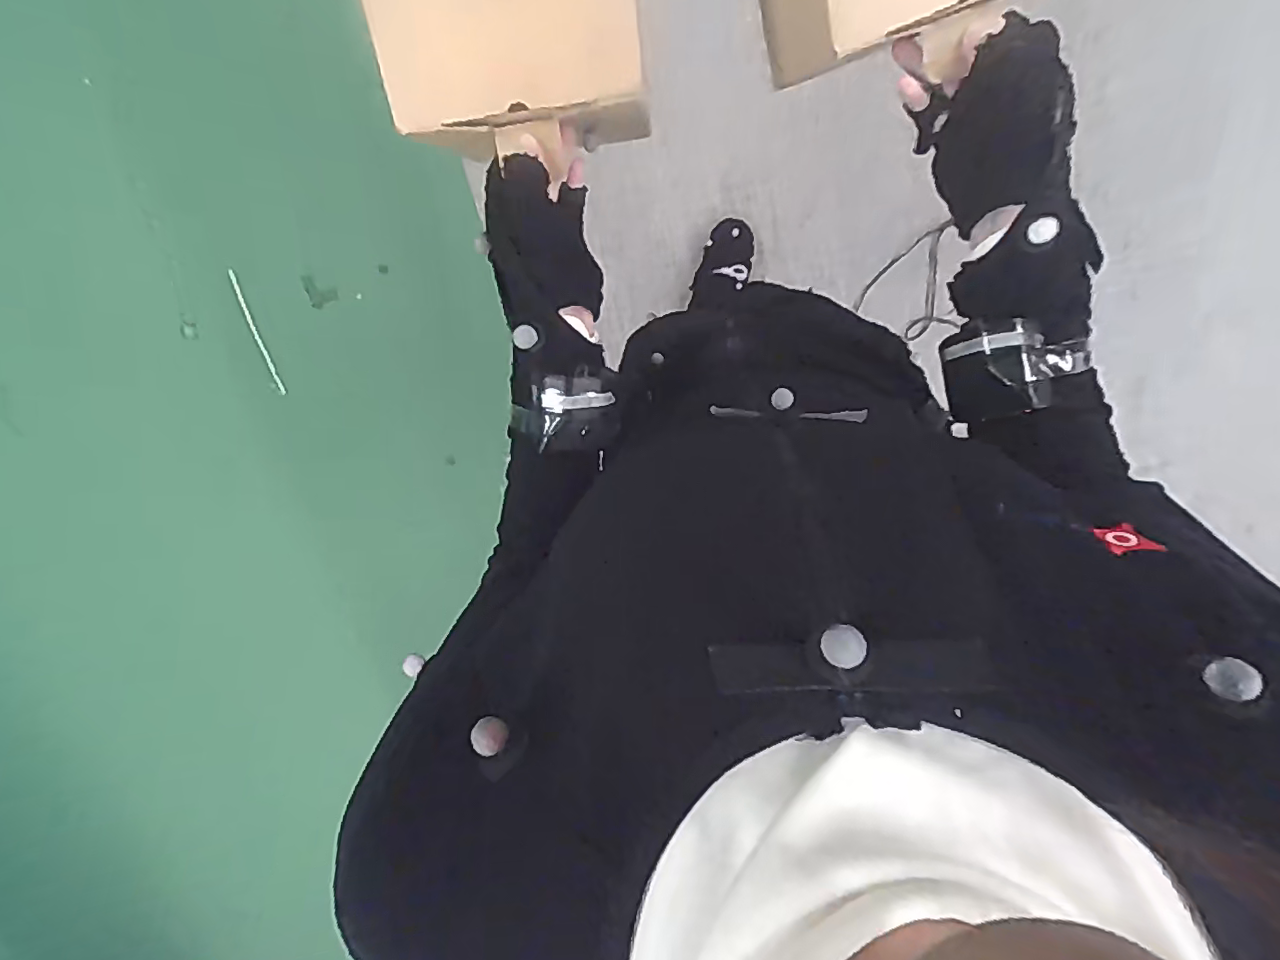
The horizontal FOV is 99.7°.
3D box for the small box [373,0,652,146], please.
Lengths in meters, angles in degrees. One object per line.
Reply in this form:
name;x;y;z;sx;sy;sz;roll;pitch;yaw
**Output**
small box;-0.082;-0.355;0.386;0.168;0.176;0.179;-6;113;5
